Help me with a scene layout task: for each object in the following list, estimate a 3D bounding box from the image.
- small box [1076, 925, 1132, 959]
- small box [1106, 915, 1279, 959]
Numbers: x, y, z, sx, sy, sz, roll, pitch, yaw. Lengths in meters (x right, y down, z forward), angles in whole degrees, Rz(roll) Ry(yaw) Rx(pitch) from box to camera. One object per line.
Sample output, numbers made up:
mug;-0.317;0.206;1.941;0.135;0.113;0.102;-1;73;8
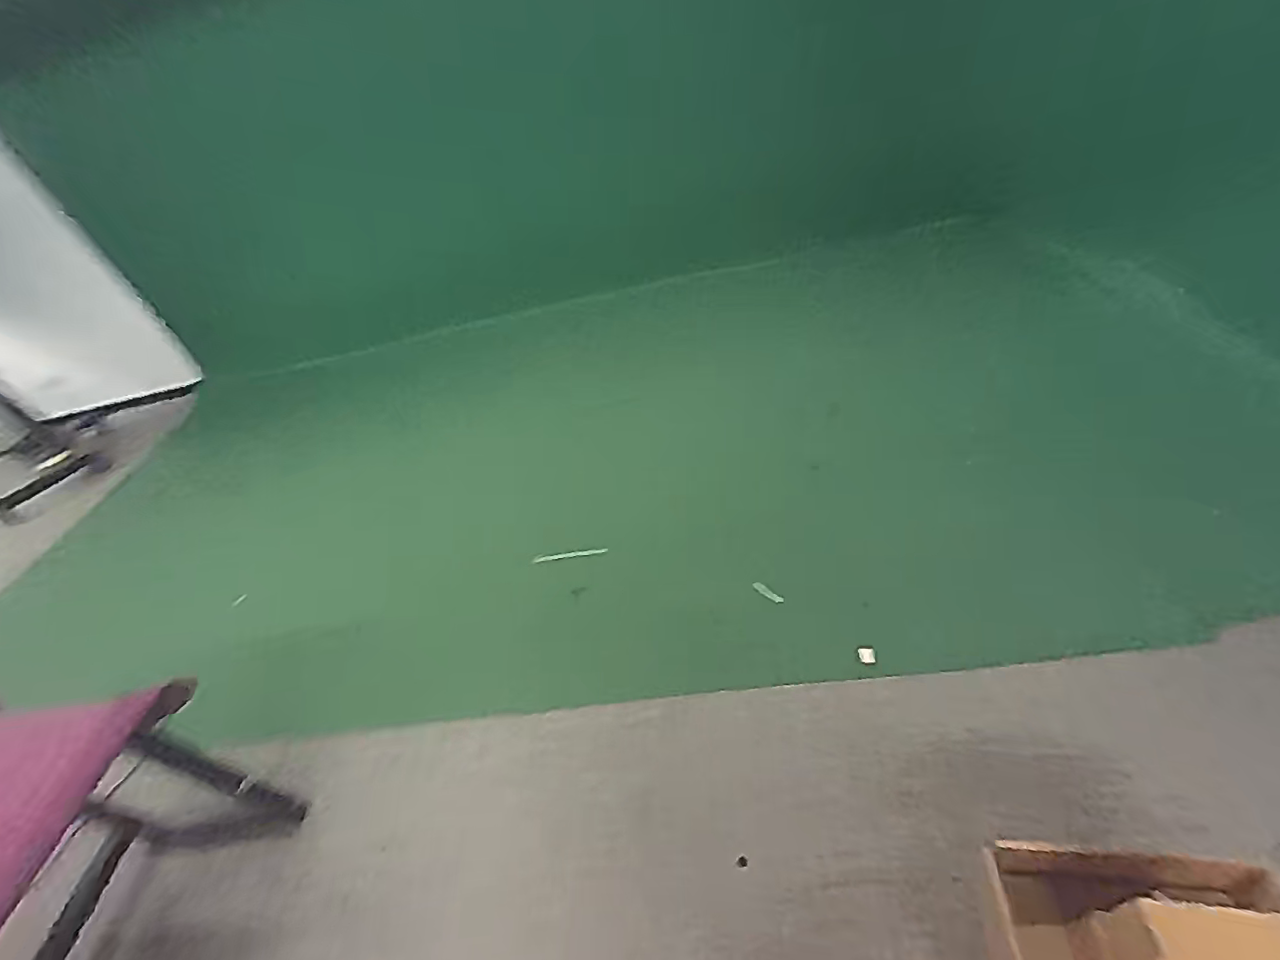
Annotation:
small box;0.766;0.768;0.766;0.168;0.176;0.179;-3;44;15
small box;0.725;0.655;0.654;0.179;0.176;0.168;-3;44;15
